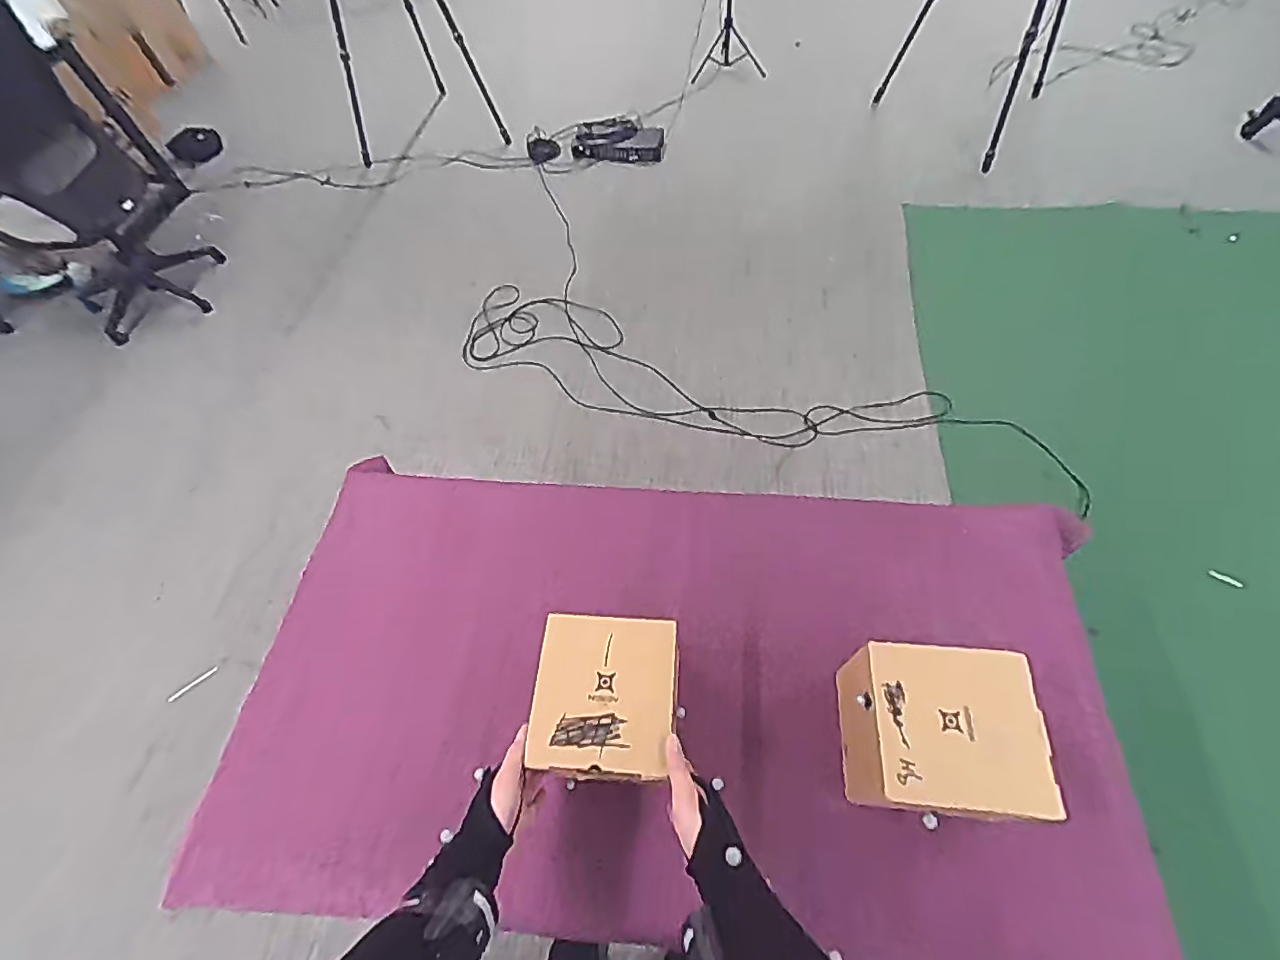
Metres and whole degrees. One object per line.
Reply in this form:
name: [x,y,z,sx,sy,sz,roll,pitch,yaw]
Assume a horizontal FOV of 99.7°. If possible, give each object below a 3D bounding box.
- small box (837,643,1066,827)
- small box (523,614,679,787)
small box: [0.352,0.308,0.652,0.179,0.176,0.168,4,59,7]
small box: [-0.036,0.287,0.695,0.168,0.176,0.179,2,58,5]
